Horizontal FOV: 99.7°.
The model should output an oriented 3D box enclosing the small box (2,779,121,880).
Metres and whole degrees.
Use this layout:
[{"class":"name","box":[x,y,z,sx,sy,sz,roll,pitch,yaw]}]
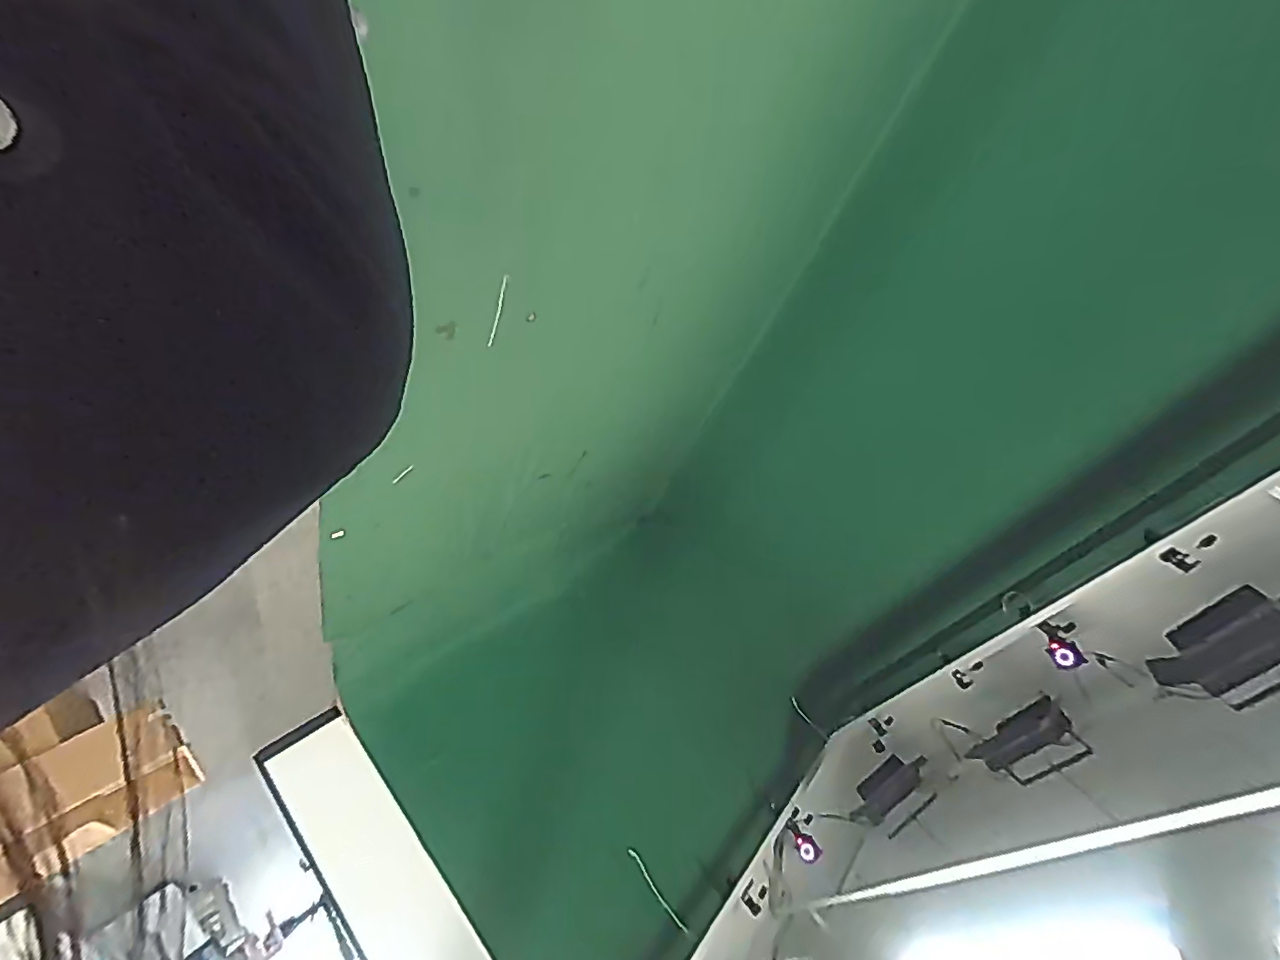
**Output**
[{"class":"small box","box":[-1.641,0.990,1.538,0.168,0.176,0.179,-30,157,-39]}]
